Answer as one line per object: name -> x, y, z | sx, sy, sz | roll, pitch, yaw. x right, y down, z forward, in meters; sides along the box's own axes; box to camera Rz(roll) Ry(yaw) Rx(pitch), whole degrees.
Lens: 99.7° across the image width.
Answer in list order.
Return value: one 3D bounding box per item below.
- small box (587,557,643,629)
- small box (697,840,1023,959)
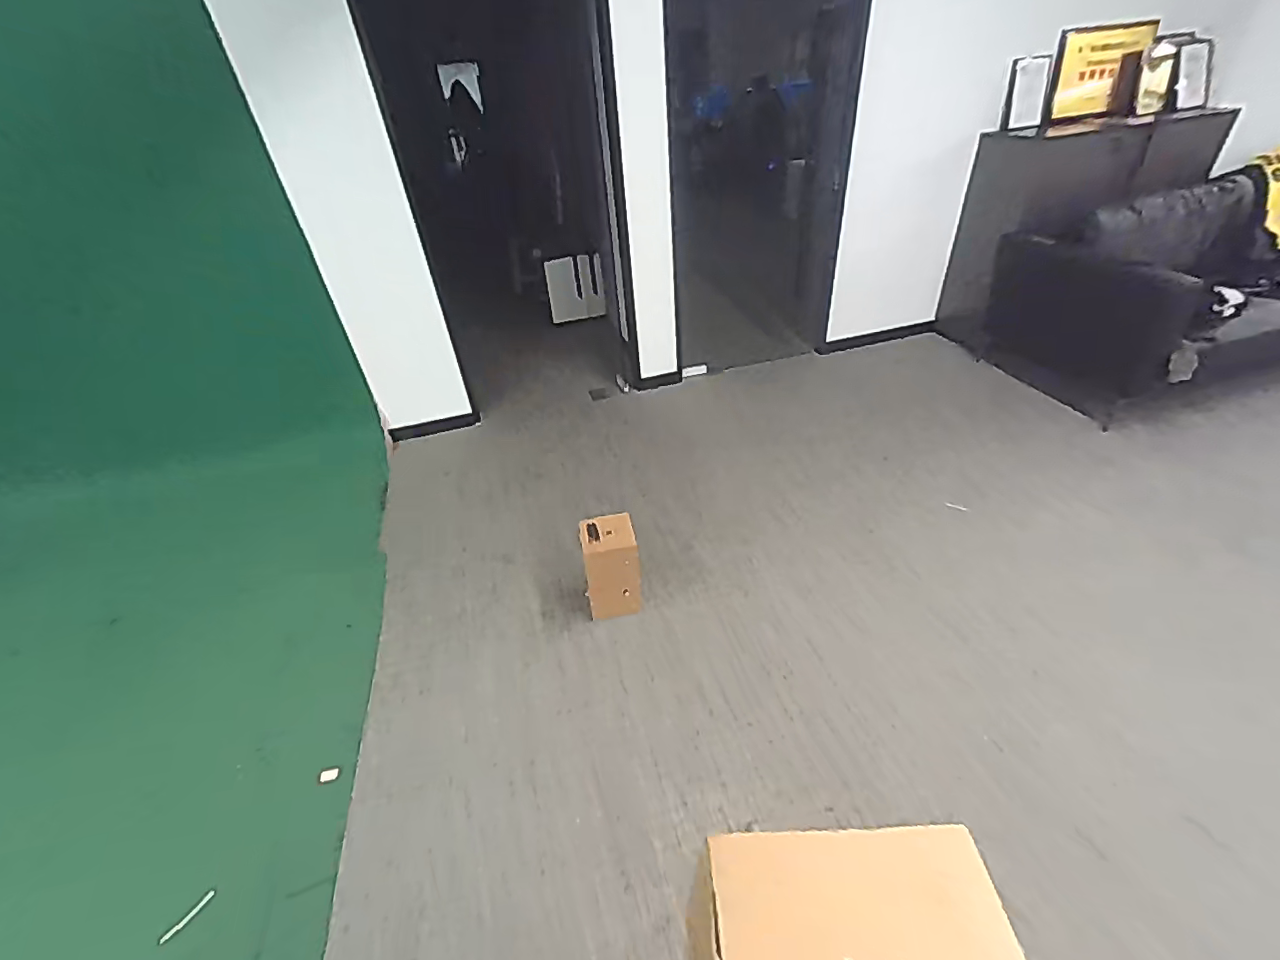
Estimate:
small box -> -0.087, 0.400, 1.905 | 0.179, 0.176, 0.168 | -9, 37, -5
small box -> 0.136, 0.353, 0.345 | 0.179, 0.176, 0.168 | -2, 39, -1
